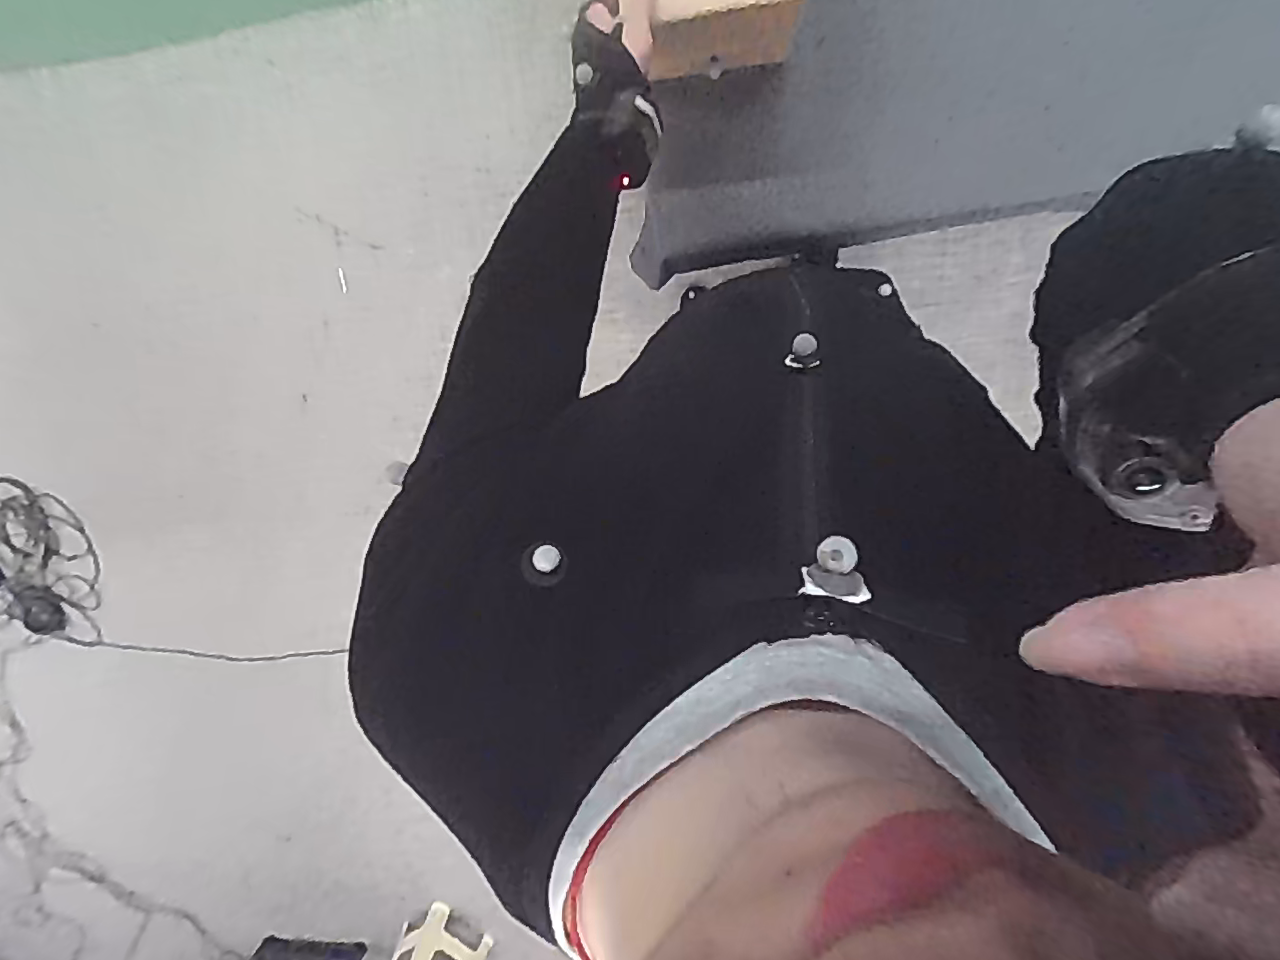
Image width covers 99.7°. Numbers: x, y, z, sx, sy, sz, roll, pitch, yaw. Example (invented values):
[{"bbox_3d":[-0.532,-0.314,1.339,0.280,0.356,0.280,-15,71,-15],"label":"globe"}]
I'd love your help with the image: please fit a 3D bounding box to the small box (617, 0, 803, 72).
[{"bbox_3d":[0.067,-0.541,0.540,0.179,0.176,0.168,-2,111,9],"label":"small box"}]
